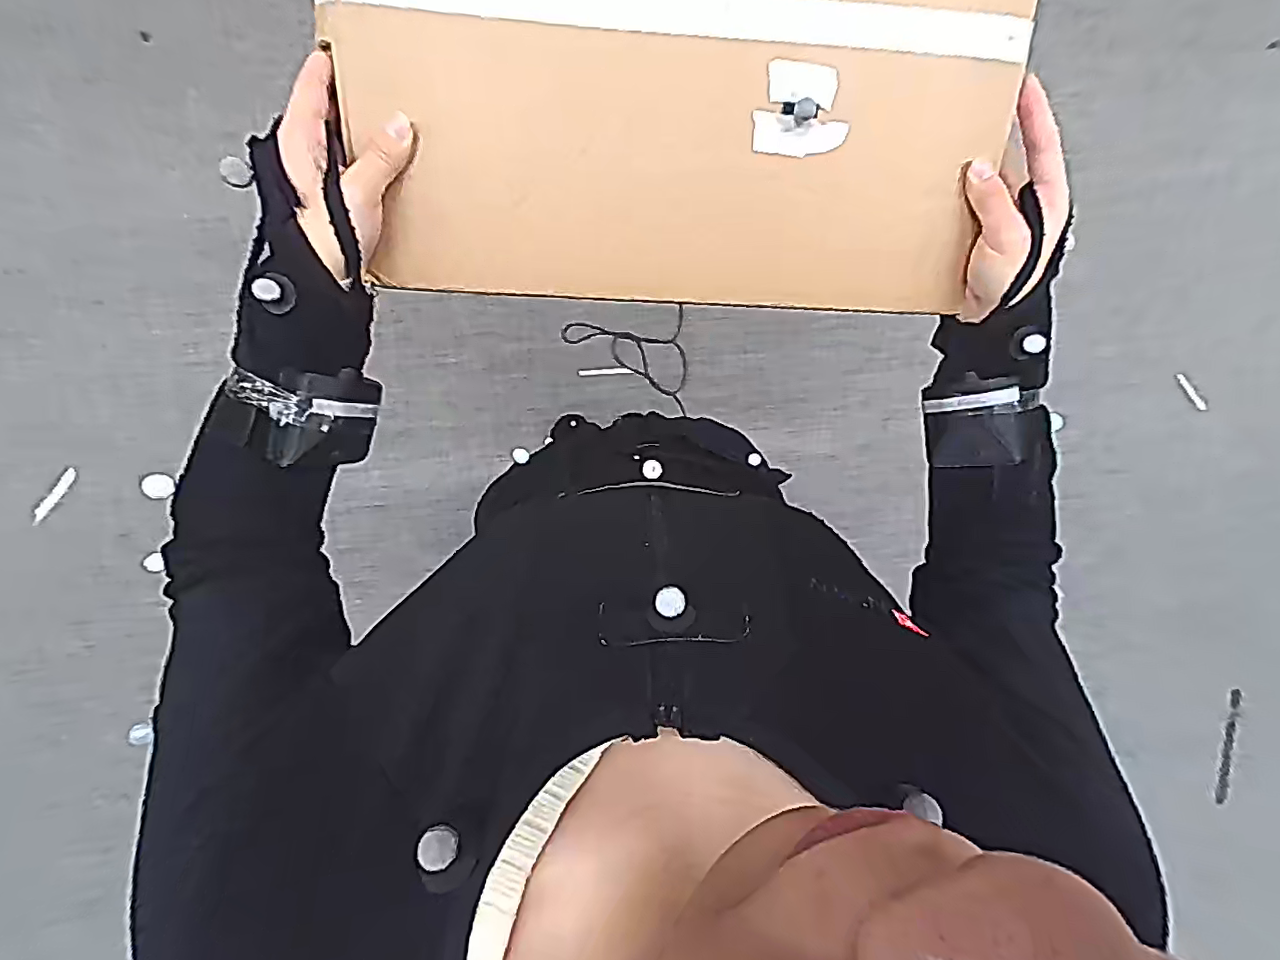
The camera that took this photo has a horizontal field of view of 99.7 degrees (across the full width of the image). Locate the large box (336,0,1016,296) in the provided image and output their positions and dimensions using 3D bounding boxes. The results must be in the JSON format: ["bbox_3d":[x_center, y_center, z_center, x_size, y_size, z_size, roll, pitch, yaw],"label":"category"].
[{"bbox_3d":[0.014,-0.327,0.452,0.408,0.320,0.320,0,112,-6],"label":"large box"}]

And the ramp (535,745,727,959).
[{"bbox_3d":[-0.009,1.258,1.482,0.509,0.206,0.991,-6,98,-3],"label":"ramp"}]
